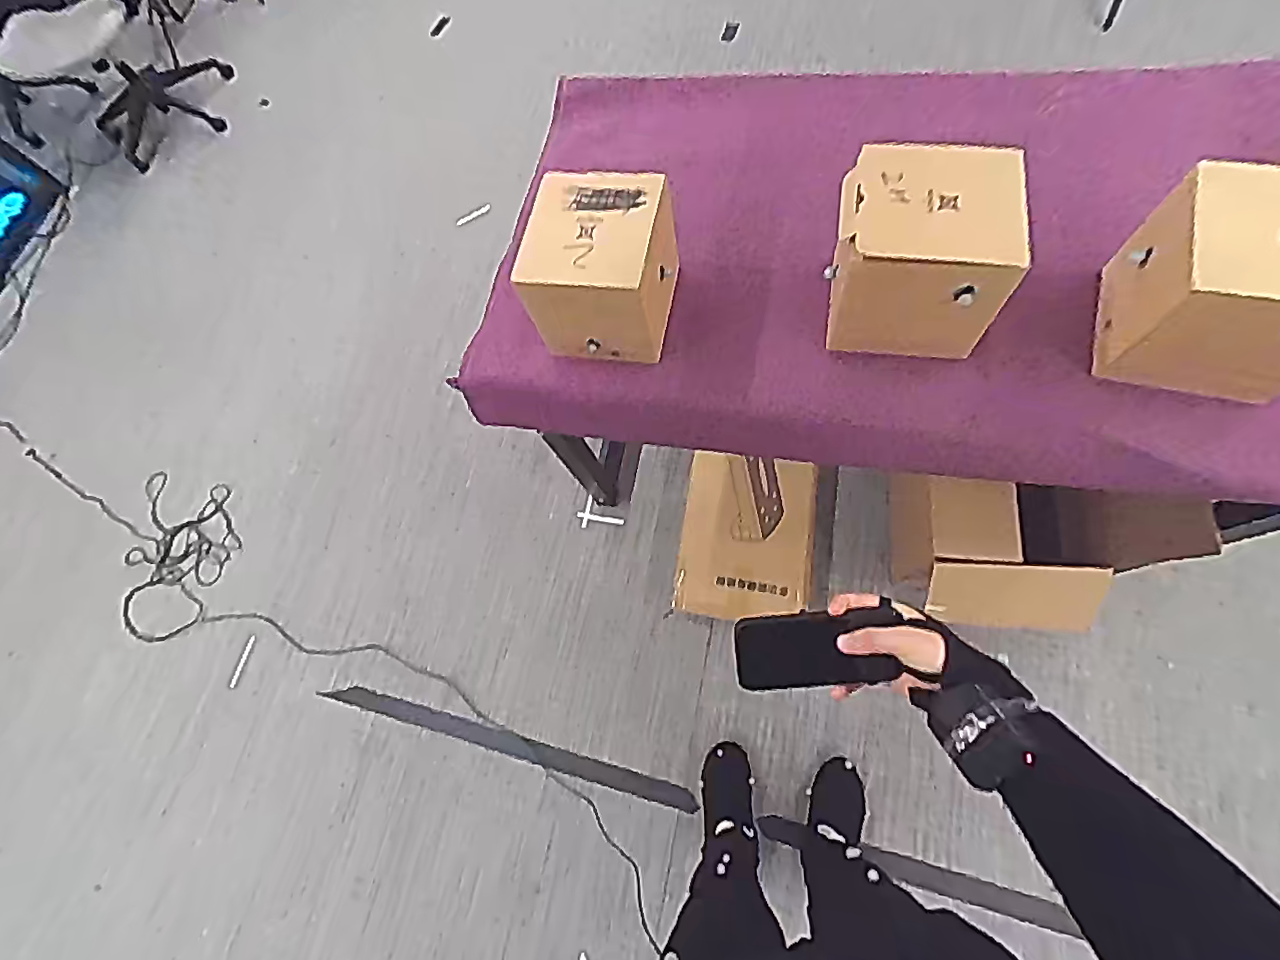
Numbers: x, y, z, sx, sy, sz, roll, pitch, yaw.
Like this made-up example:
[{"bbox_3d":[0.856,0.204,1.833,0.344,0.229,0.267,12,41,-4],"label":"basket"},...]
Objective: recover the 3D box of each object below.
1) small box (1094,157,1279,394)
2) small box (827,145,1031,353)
[{"bbox_3d":[0.642,-0.212,0.587,0.179,0.176,0.168,14,74,14],"label":"small box"},{"bbox_3d":[0.338,-0.273,0.662,0.179,0.176,0.168,7,70,12],"label":"small box"}]
